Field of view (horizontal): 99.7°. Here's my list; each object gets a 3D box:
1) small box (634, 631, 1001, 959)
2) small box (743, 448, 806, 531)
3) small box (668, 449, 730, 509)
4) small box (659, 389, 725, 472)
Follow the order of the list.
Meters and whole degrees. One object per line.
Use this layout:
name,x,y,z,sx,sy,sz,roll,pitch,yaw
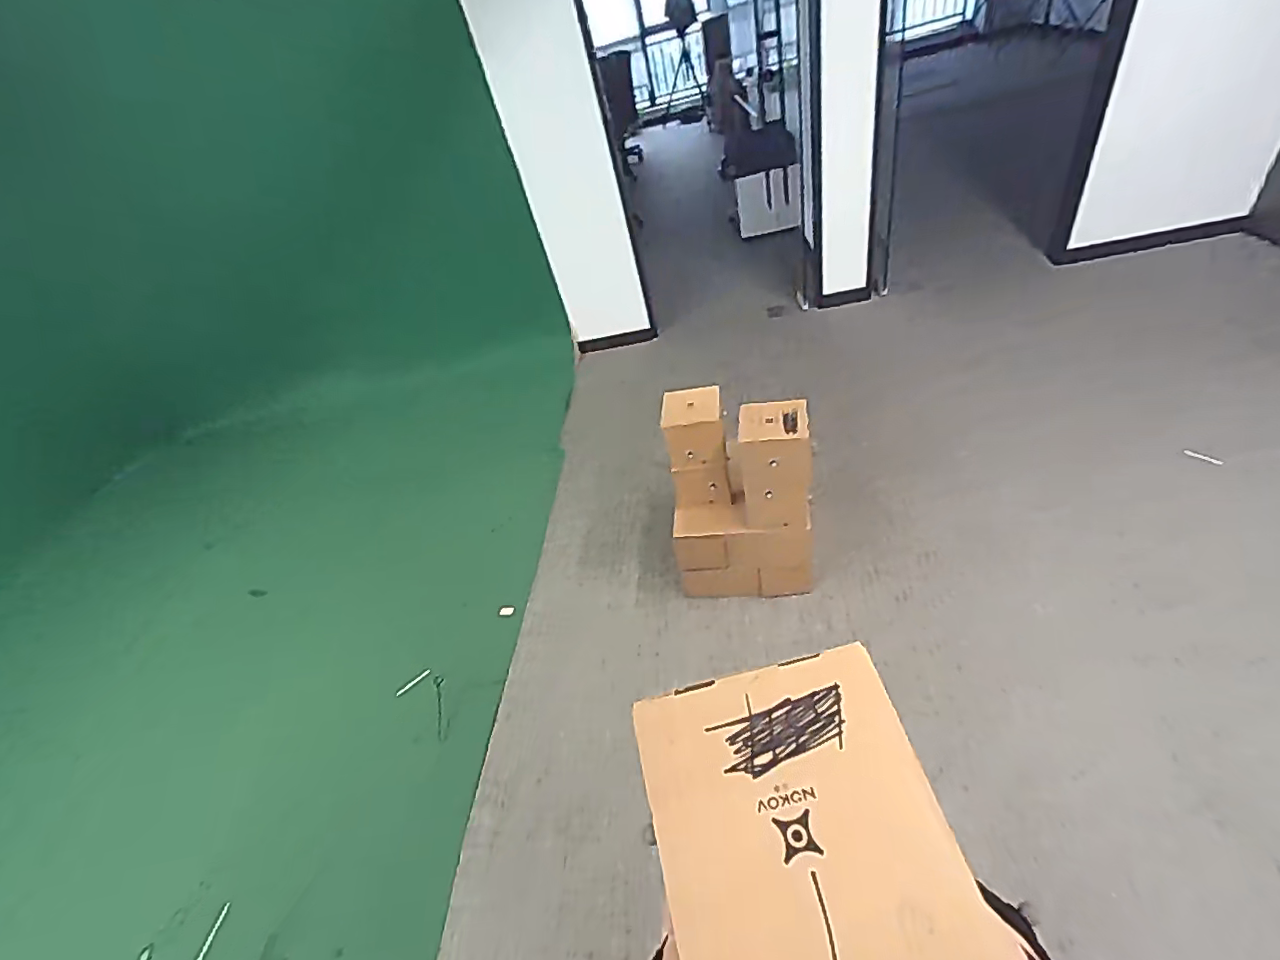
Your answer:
small box,0.101,0.236,0.387,0.168,0.176,0.179,-15,55,1
small box,0.389,0.029,1.562,0.168,0.176,0.179,-4,40,15
small box,0.191,-0.021,1.697,0.168,0.176,0.179,-5,39,14
small box,0.158,-0.145,1.596,0.168,0.176,0.179,-6,41,13
